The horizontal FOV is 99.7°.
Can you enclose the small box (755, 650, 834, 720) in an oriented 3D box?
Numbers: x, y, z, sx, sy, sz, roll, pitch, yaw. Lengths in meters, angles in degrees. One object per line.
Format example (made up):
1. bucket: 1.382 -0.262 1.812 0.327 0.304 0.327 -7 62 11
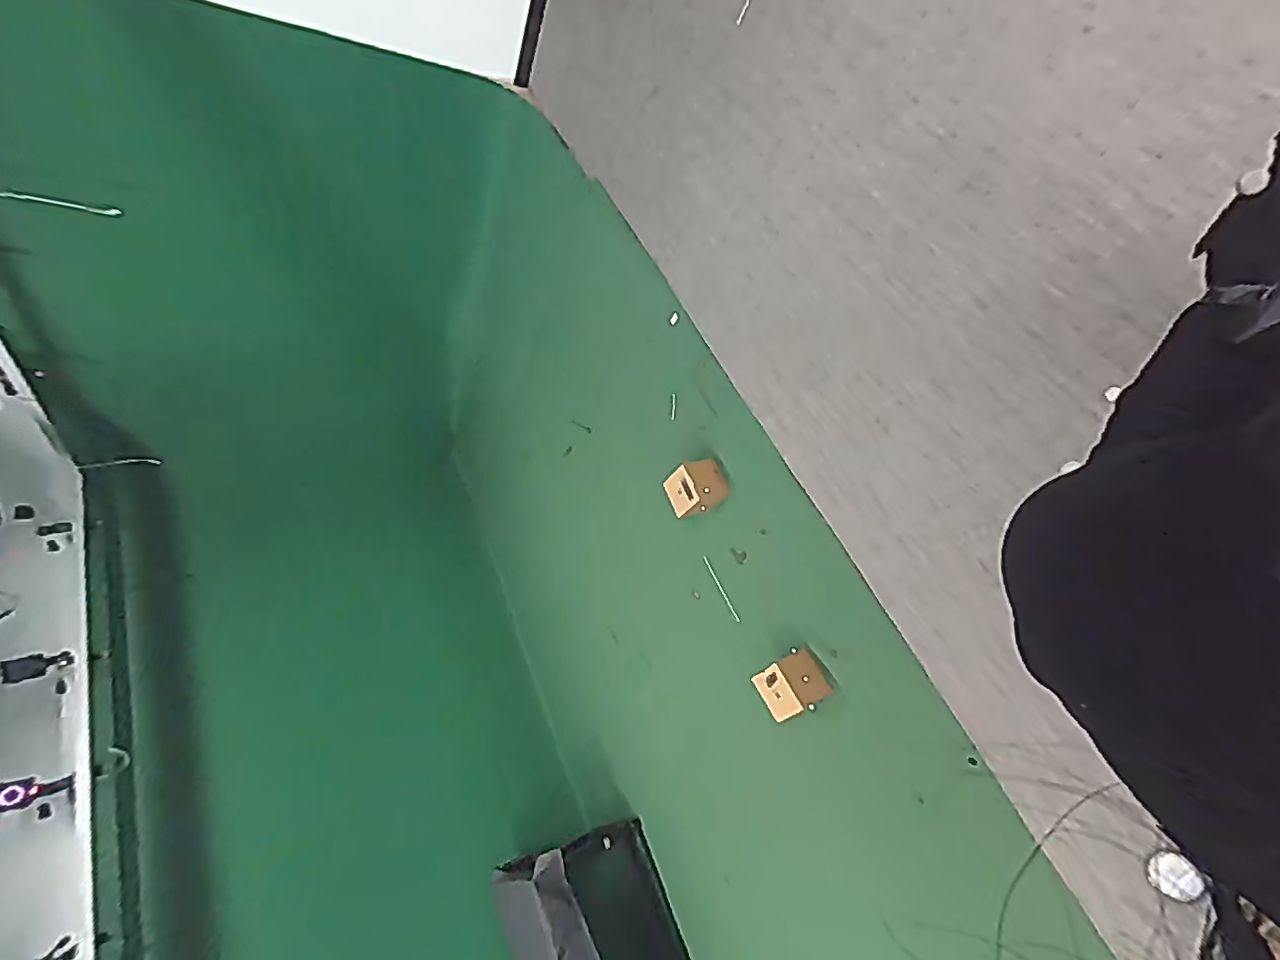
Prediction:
1. small box: 0.561 0.738 1.966 0.179 0.176 0.168 59 141 24
